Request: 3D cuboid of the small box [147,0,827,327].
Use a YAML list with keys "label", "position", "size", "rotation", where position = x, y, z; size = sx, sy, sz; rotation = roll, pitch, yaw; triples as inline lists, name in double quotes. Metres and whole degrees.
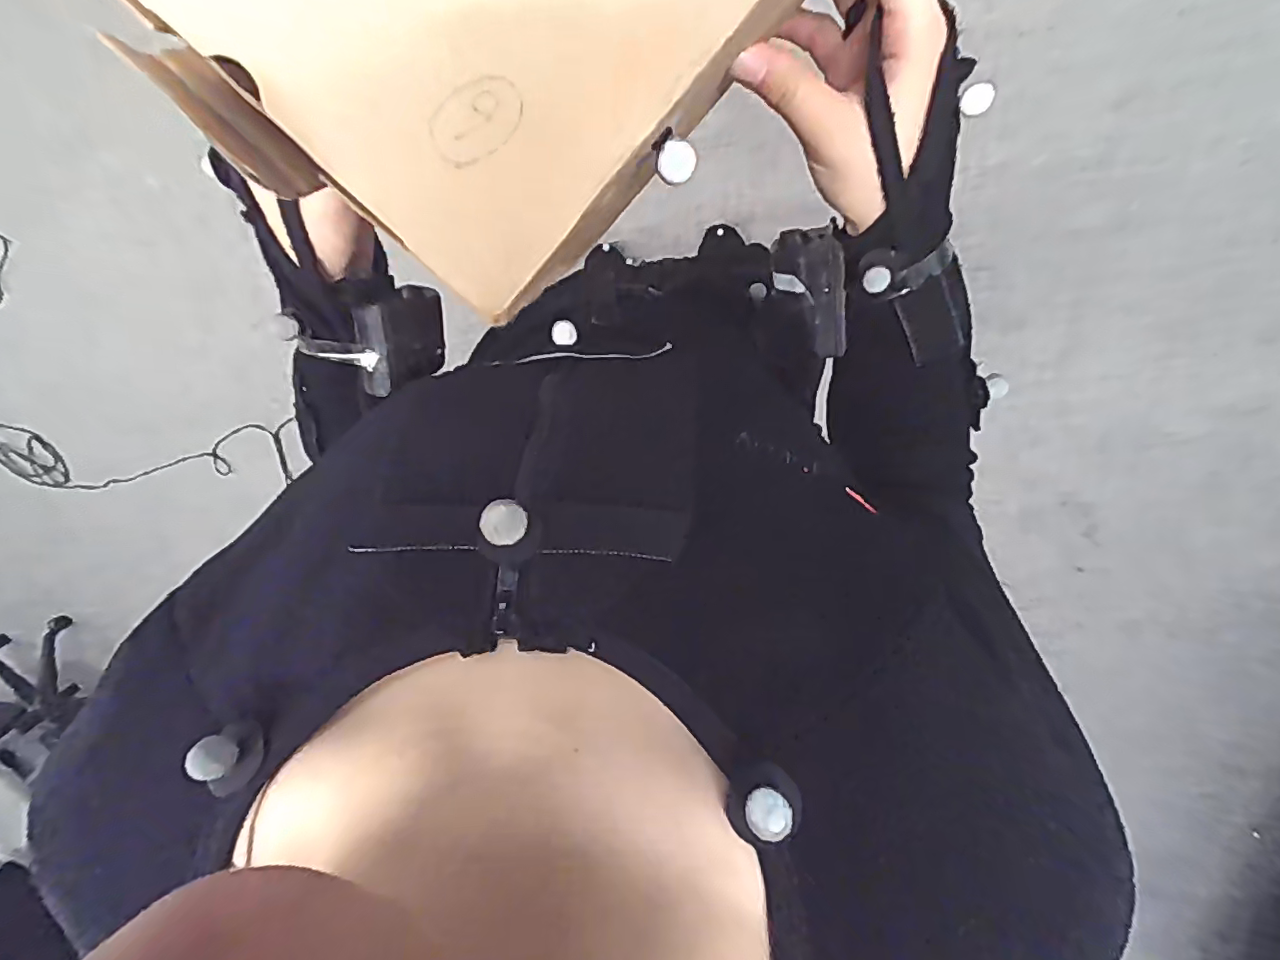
- label: "small box"
  position: [-0.034, -0.188, 0.194]
  size: [0.168, 0.176, 0.179]
  rotation: [41, 112, -17]
